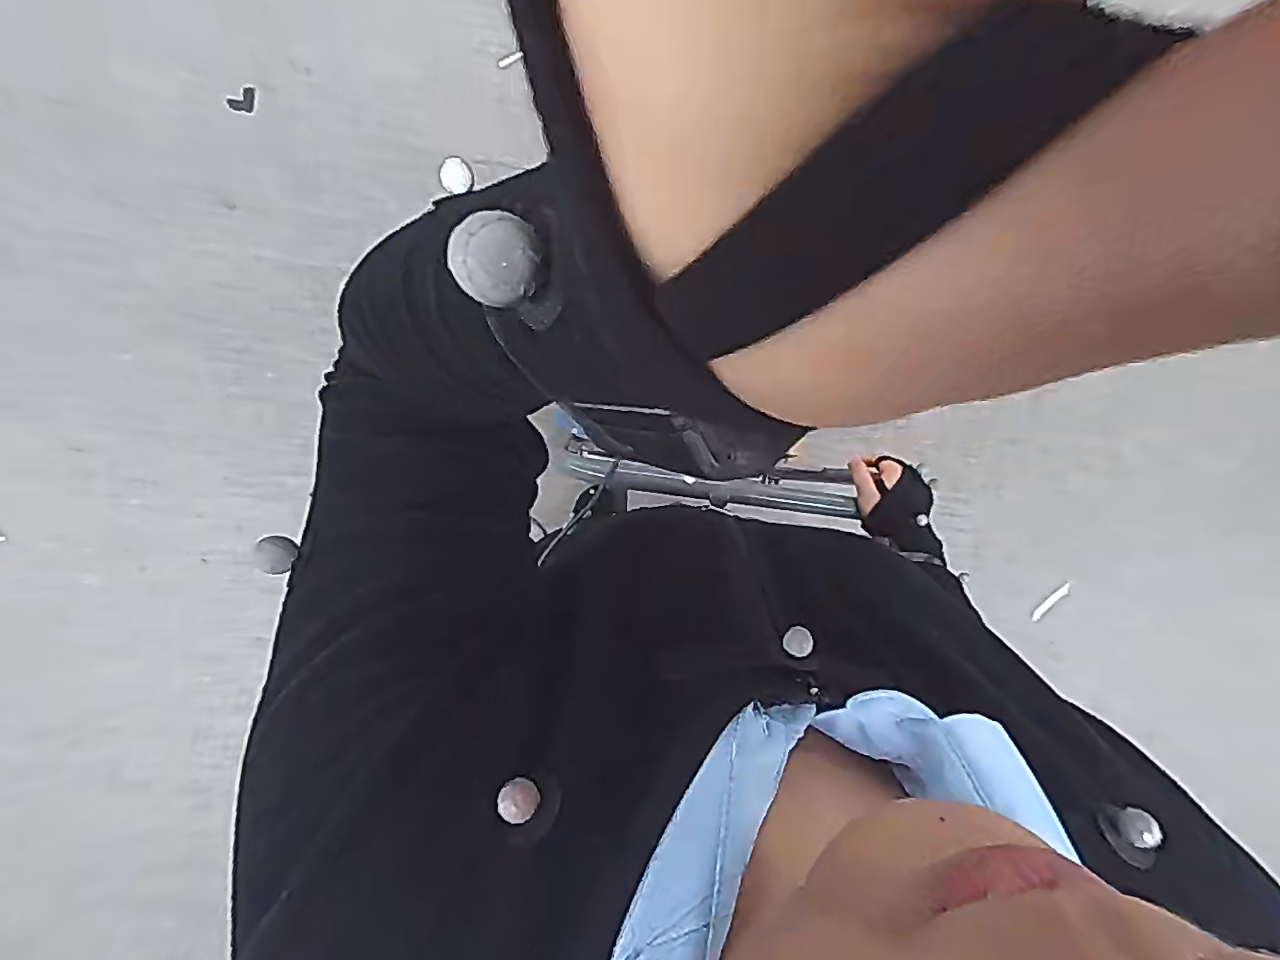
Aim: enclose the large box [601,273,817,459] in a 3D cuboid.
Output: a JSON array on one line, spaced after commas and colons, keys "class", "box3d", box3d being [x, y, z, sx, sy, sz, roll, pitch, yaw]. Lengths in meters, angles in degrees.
[{"class": "large box", "box3d": [0.129, -0.228, 1.208, 0.408, 0.320, 0.320, 7, 89, -5]}]
